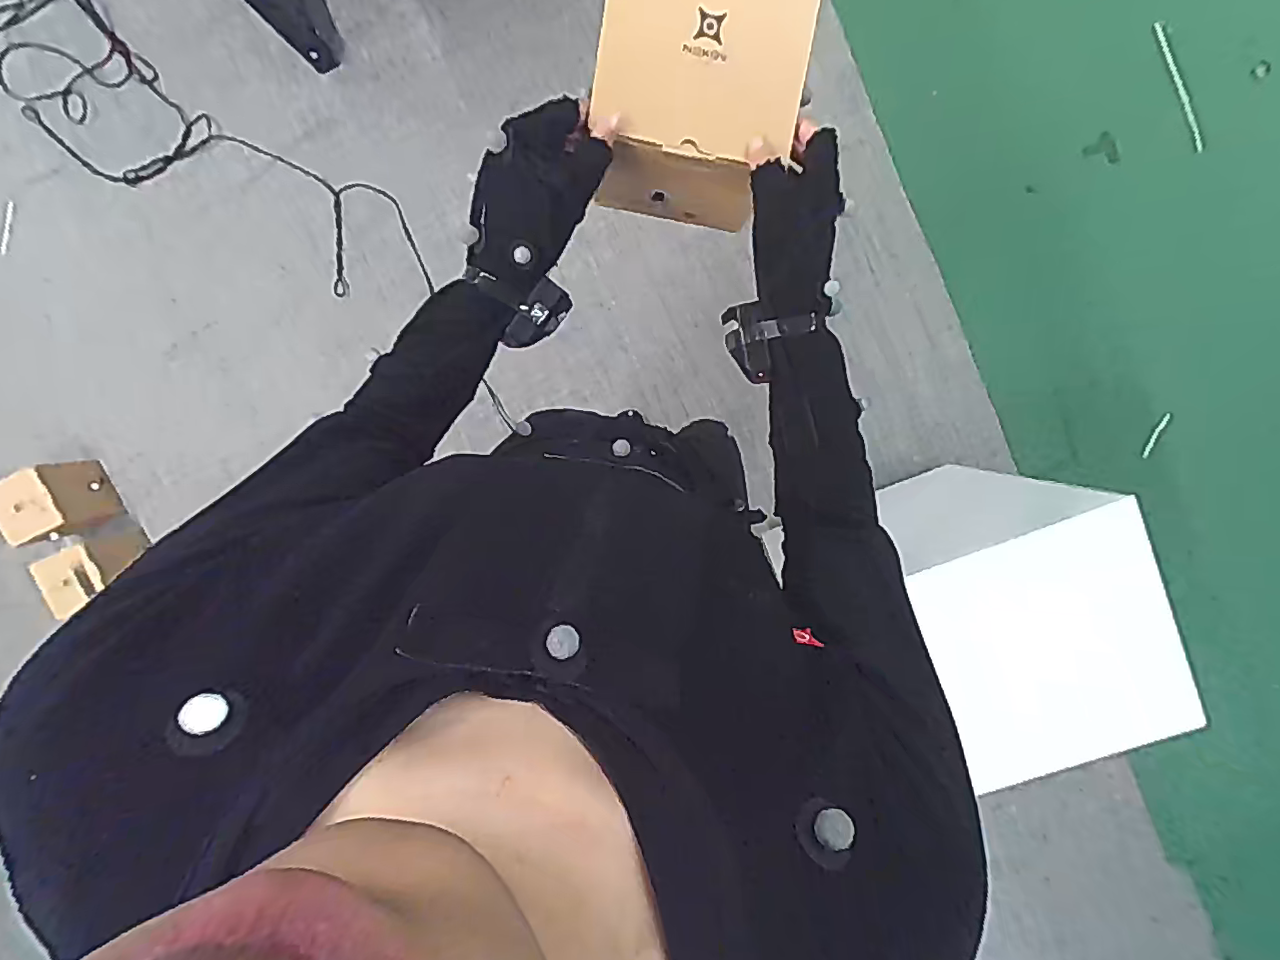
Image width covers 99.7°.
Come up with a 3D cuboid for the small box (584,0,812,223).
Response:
[{"bbox_3d":[0.042,-0.363,0.496,0.168,0.176,0.179,8,99,-5],"label":"small box"}]

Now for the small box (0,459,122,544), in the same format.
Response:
[{"bbox_3d":[-1.596,0.053,1.477,0.179,0.176,0.168,-24,96,5],"label":"small box"}]
